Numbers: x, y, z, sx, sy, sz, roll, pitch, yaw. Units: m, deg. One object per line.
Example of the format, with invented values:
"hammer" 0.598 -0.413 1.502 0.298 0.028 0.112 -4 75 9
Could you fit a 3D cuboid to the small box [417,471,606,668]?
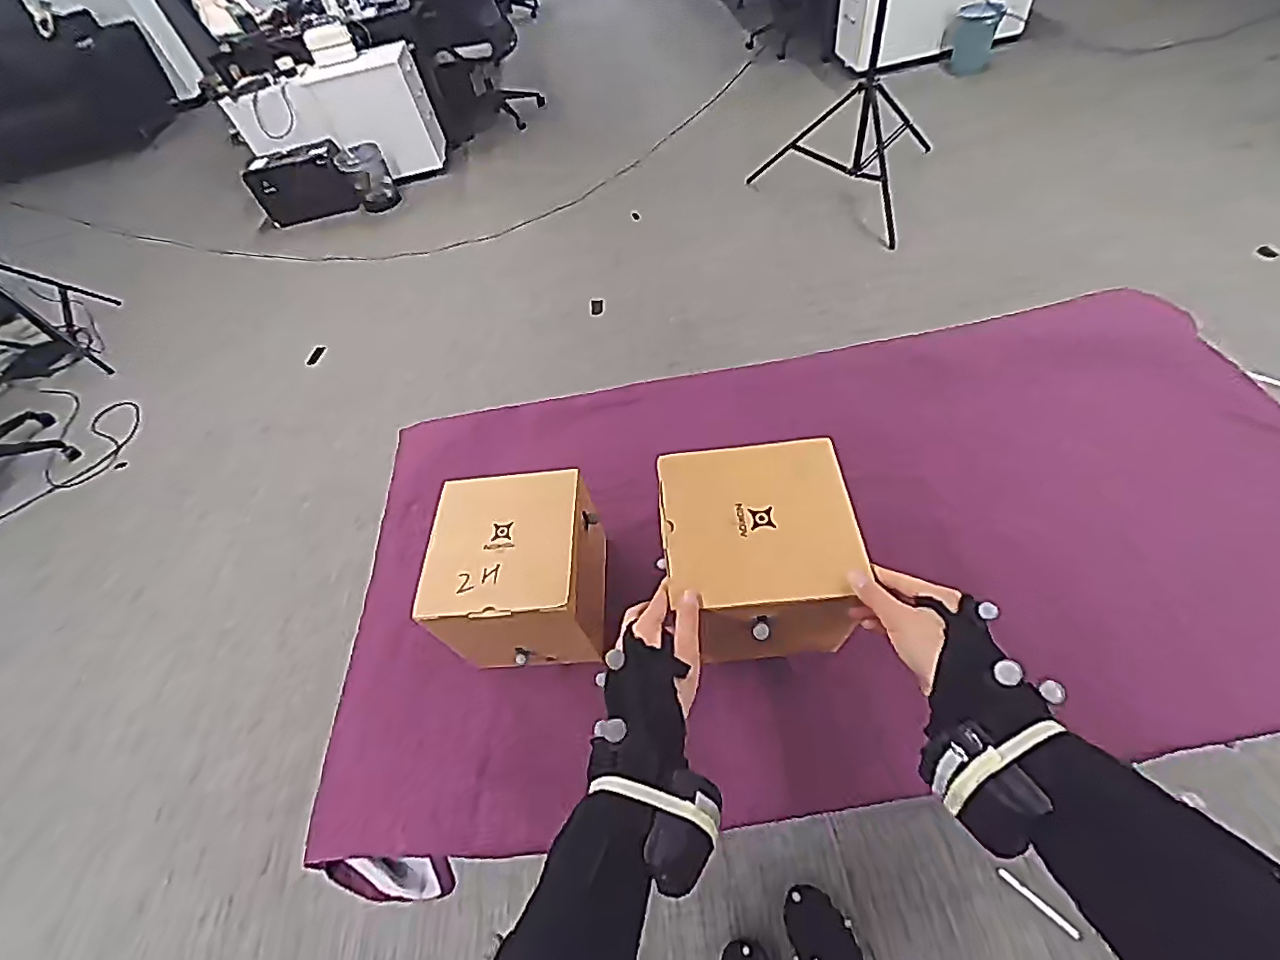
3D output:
"small box" -0.139 0.113 0.659 0.168 0.176 0.179 -6 53 6
